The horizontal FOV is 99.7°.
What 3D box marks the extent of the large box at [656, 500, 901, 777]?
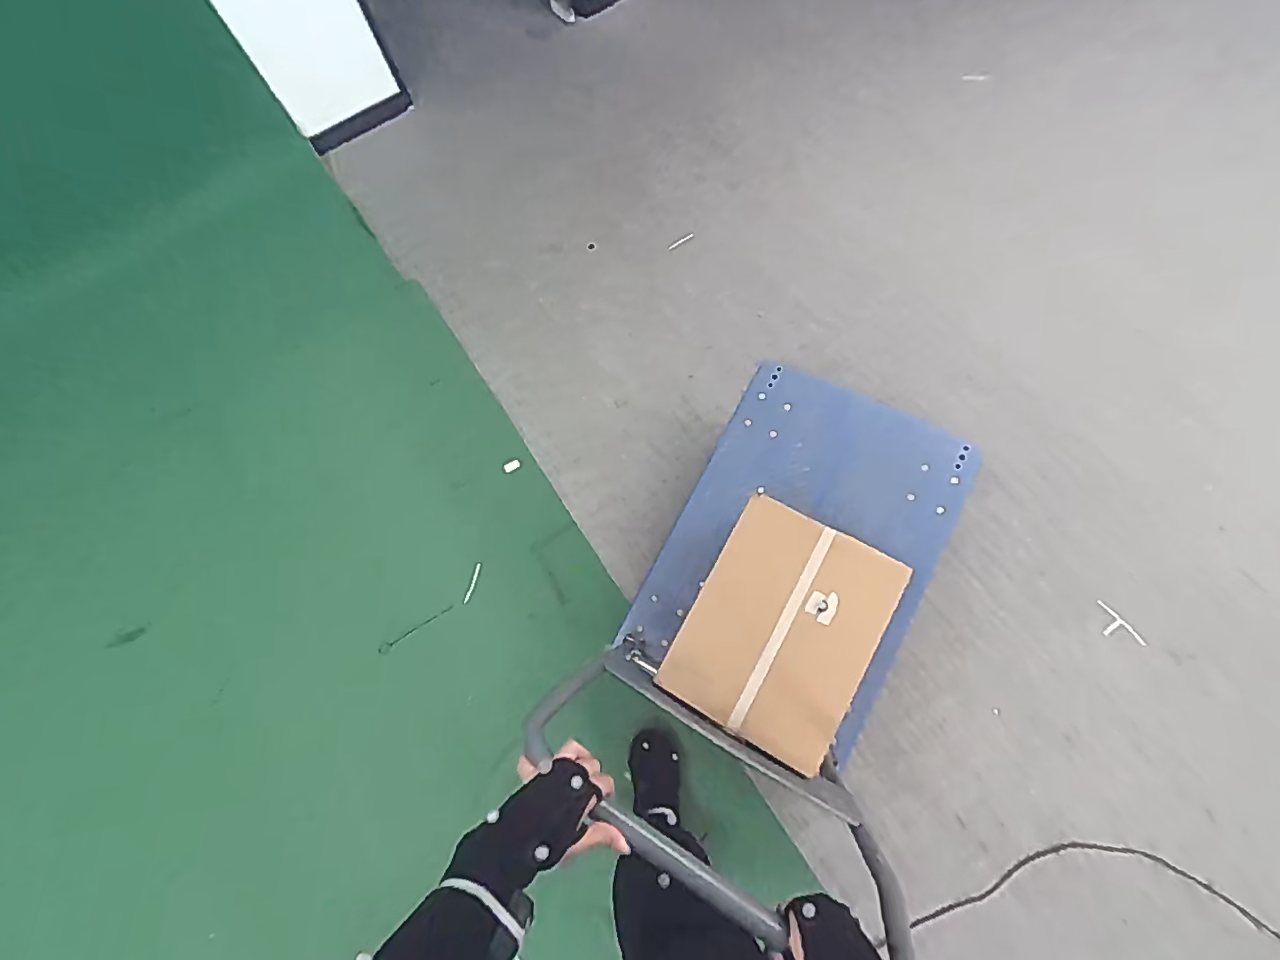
[{"bbox_3d":[0.275,0.314,1.132,0.320,0.320,0.408,28,81,14],"label":"large box"}]
